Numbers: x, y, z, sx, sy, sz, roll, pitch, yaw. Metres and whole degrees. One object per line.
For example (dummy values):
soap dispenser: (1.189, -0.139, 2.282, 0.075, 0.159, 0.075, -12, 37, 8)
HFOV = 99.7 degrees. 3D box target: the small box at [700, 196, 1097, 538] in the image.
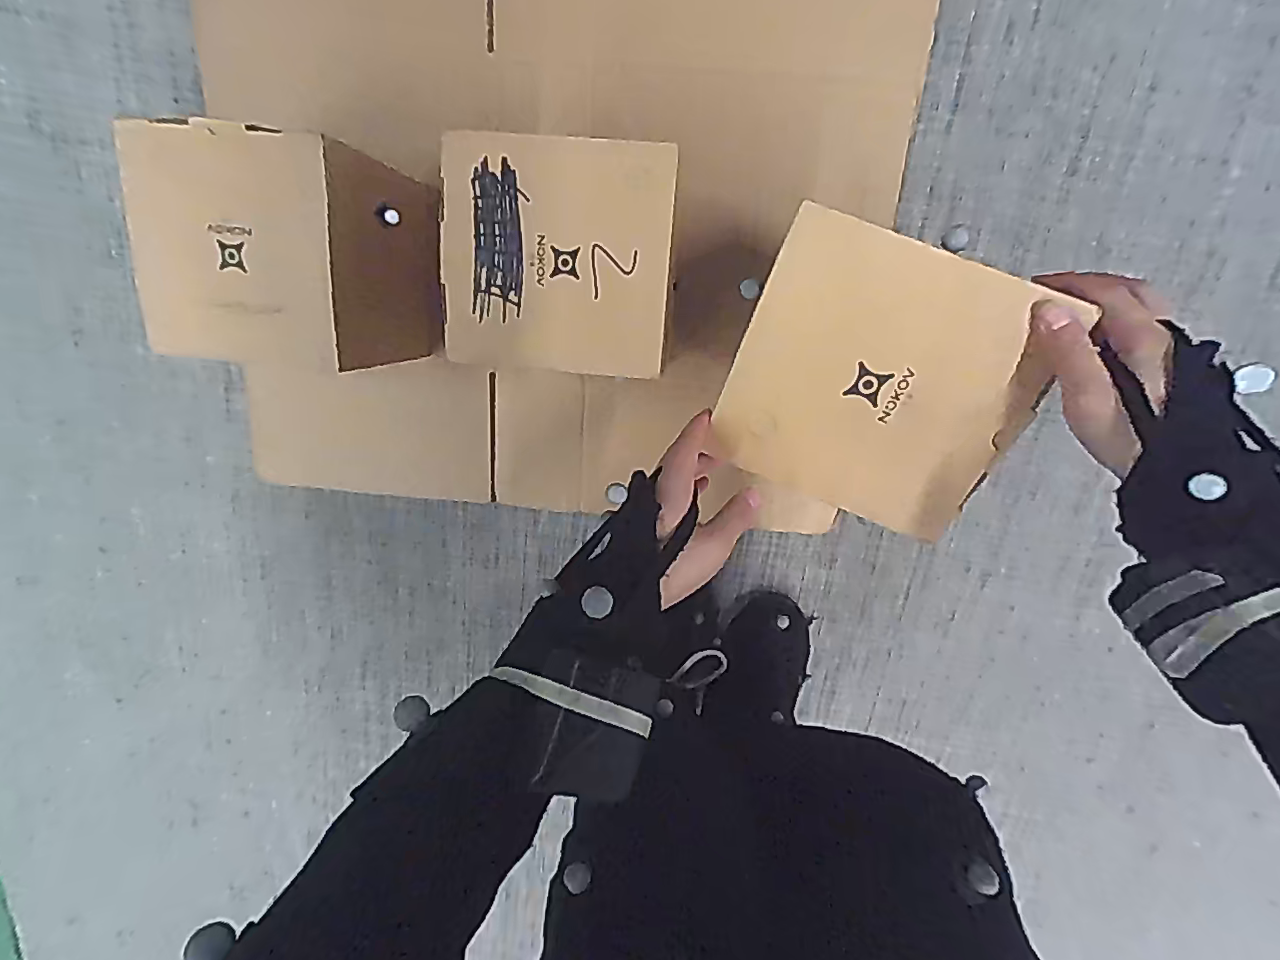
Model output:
small box: (0.163, -0.090, 0.406, 0.179, 0.176, 0.168, 22, 117, 3)

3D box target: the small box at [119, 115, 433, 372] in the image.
small box: (-0.306, -0.203, 0.498, 0.168, 0.176, 0.179, 6, 108, 4)
